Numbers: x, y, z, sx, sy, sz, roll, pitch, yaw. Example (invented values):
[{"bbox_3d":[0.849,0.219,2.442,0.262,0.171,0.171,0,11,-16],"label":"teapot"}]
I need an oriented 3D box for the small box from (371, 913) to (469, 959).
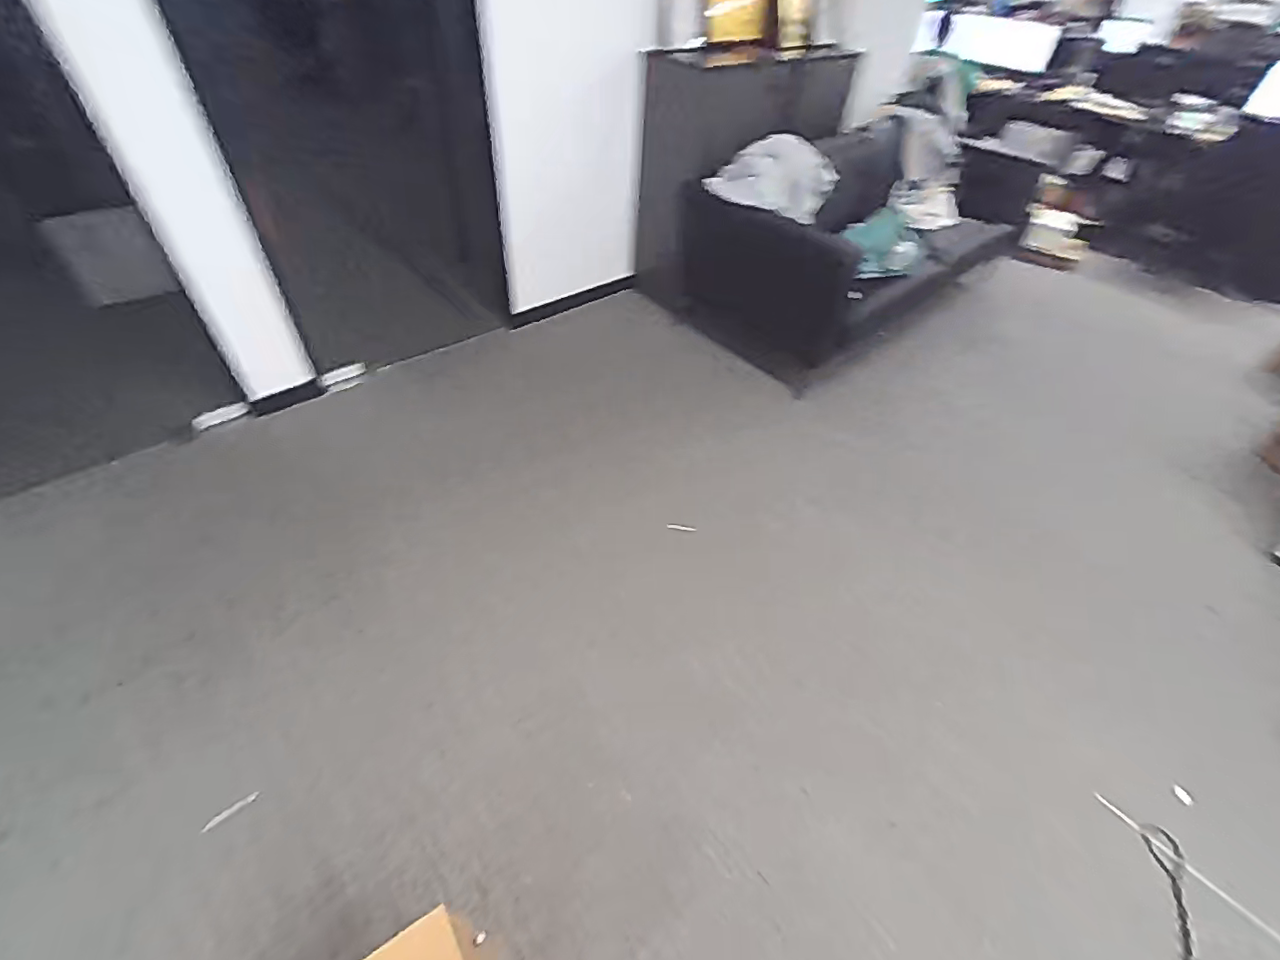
[{"bbox_3d":[-0.310,0.750,0.740,0.168,0.176,0.179,-24,53,-27],"label":"small box"}]

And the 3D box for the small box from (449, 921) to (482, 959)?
[{"bbox_3d":[-0.323,0.860,0.859,0.168,0.176,0.179,-27,54,-28],"label":"small box"}]

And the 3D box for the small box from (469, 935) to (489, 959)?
[{"bbox_3d":[-0.336,0.978,0.973,0.168,0.176,0.179,-25,54,-27],"label":"small box"}]
